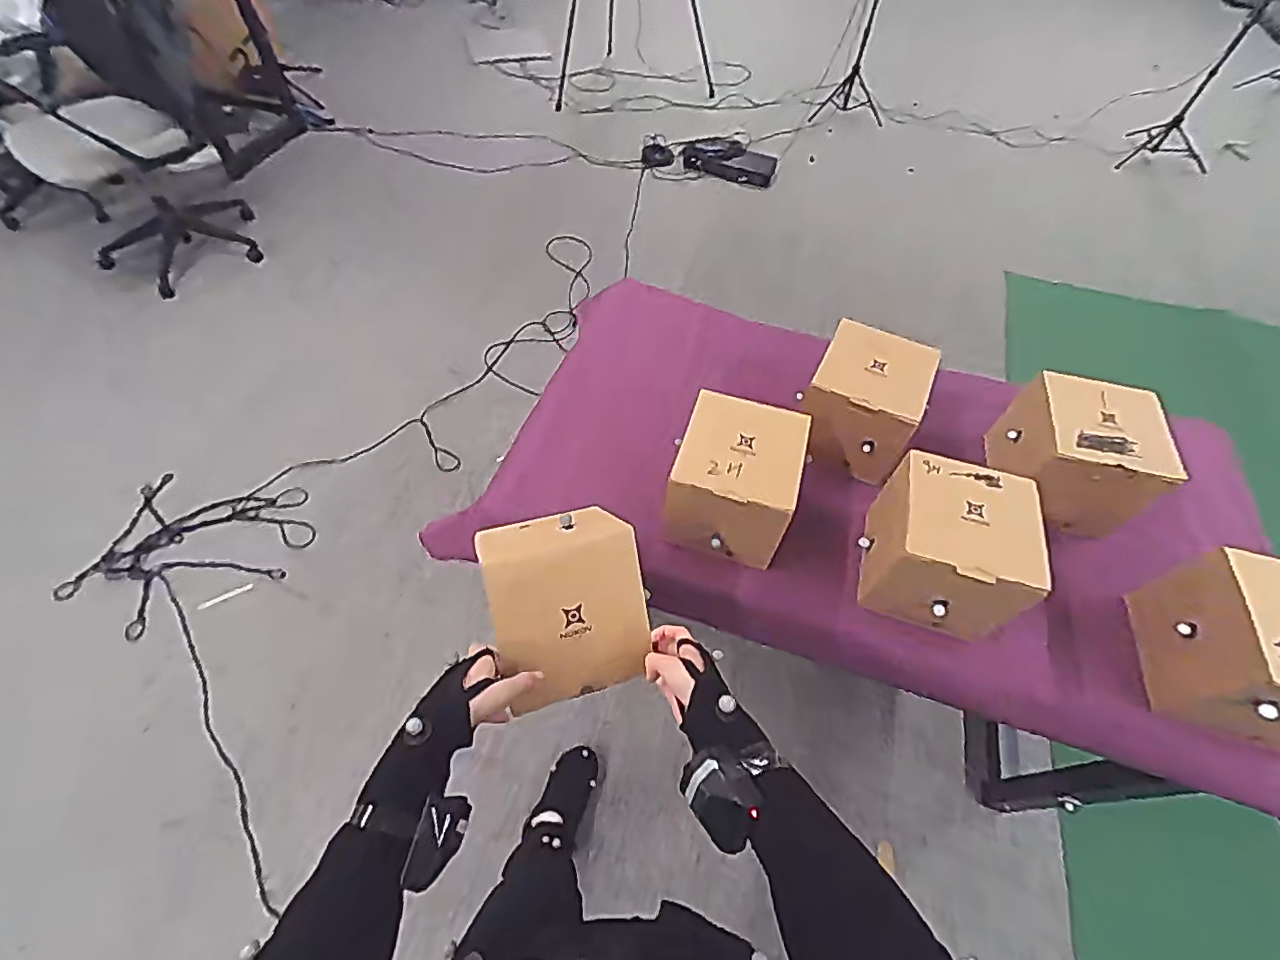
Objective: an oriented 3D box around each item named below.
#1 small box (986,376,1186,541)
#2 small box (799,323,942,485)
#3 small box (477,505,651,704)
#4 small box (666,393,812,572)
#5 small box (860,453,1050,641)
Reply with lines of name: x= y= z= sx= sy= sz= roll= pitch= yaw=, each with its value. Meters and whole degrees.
small box: x=0.674 y=-0.029 z=0.844 sx=0.168 sy=0.176 sz=0.179 roll=15 pitch=55 yaw=8
small box: x=0.366 y=-0.121 z=0.899 sx=0.168 sy=0.176 sz=0.179 roll=25 pitch=58 yaw=14
small box: x=-0.099 y=0.131 z=0.654 sx=0.168 sy=0.176 sz=0.179 roll=-10 pitch=100 yaw=-17
small box: x=0.140 y=0.006 z=0.800 sx=0.168 sy=0.176 sz=0.179 roll=16 pitch=55 yaw=9
small box: x=0.419 y=0.097 z=0.745 sx=0.168 sy=0.176 sz=0.179 roll=17 pitch=56 yaw=9
